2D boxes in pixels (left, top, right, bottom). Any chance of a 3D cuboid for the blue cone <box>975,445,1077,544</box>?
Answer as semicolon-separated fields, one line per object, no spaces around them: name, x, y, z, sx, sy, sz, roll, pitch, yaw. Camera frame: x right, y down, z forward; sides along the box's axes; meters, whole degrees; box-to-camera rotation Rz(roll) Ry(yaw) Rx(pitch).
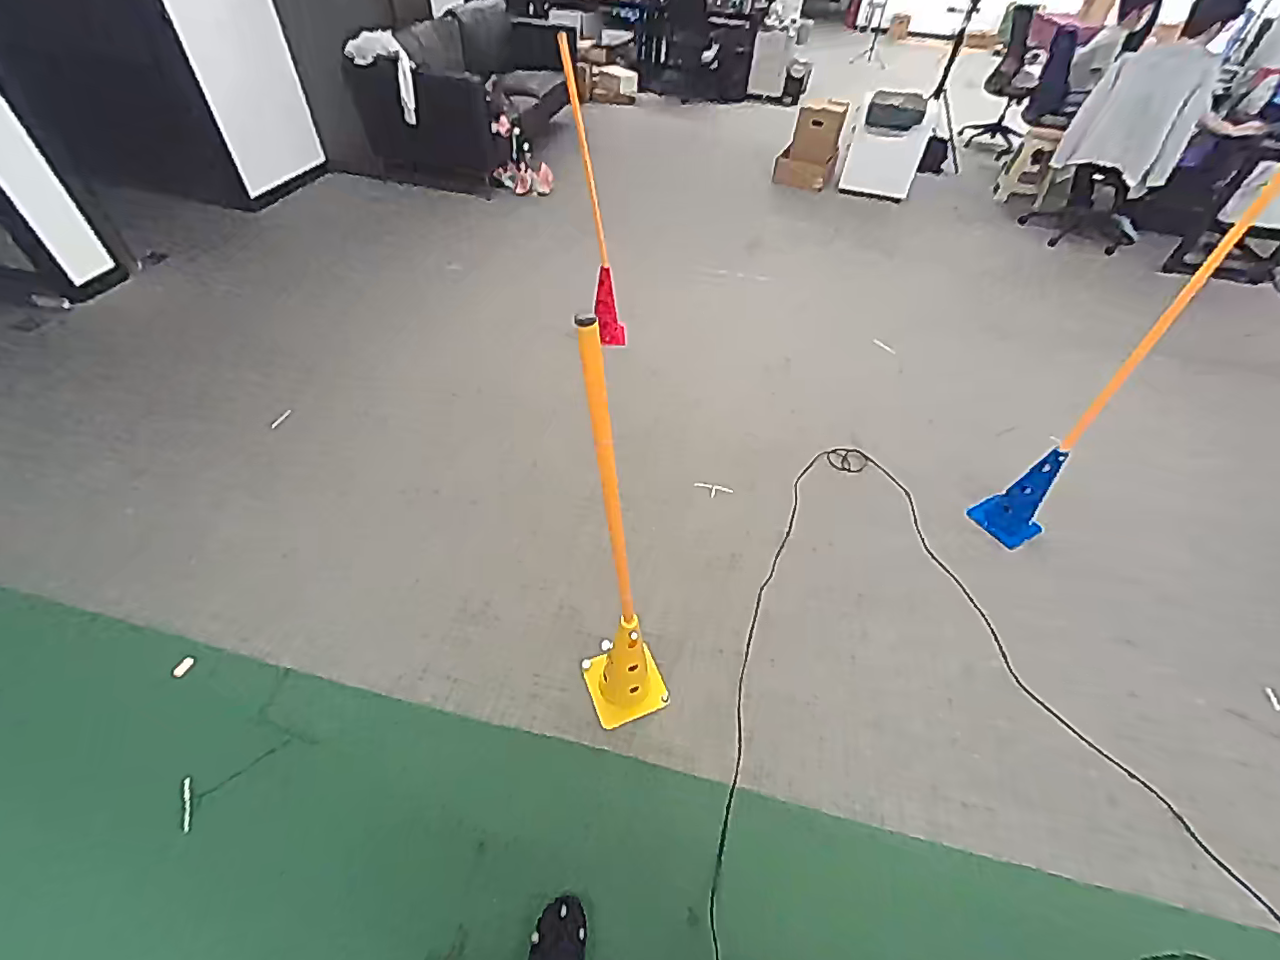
blue cone;1.358;0.024;1.863;0.193;0.380;0.192;-21;51;-24
